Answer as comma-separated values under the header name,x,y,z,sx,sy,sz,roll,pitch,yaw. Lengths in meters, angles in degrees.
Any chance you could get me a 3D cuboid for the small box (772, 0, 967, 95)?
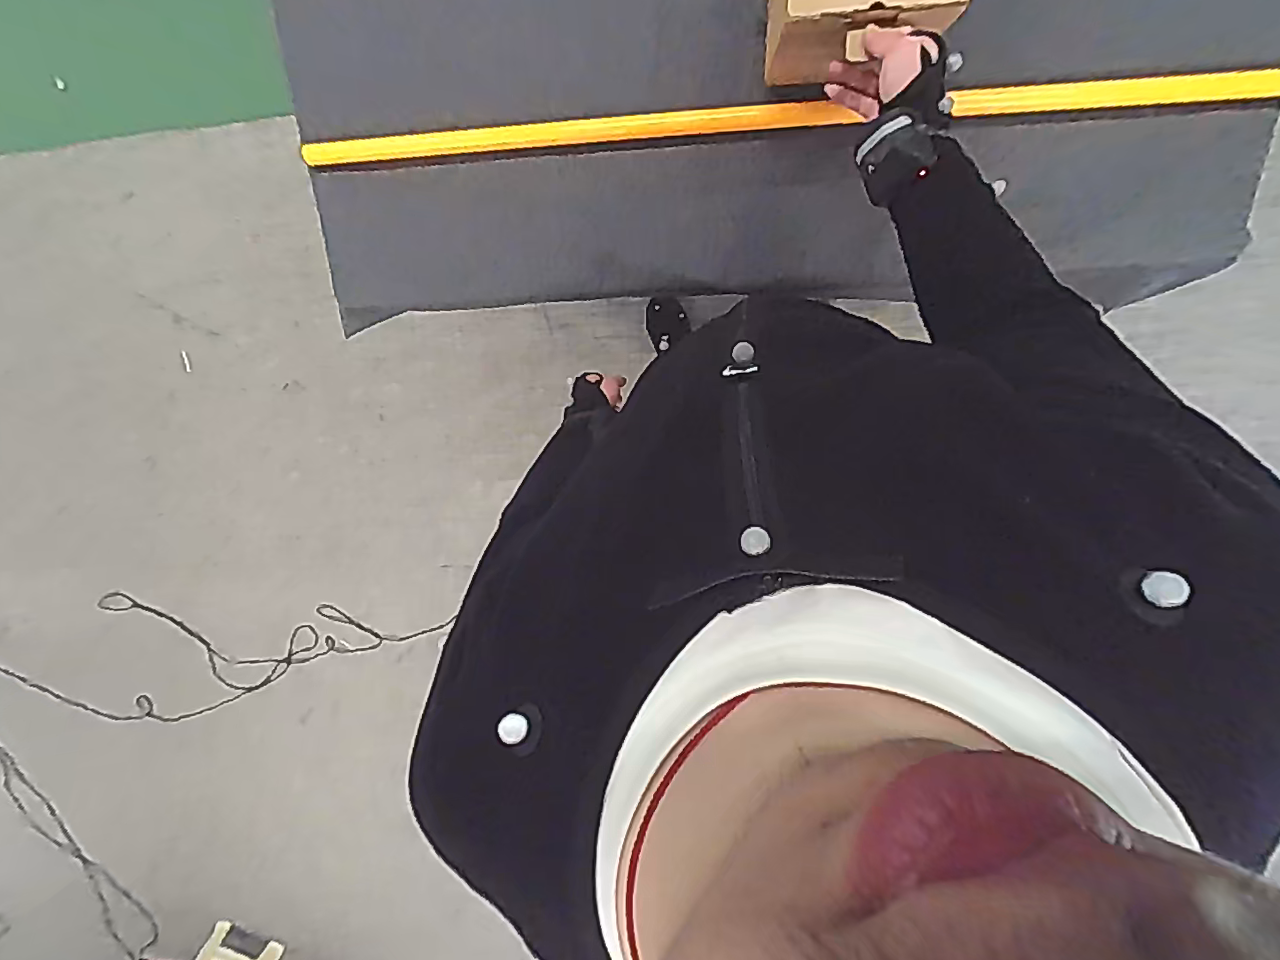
name,x,y,z,sx,sy,sz,roll,pitch,yaw
small box,0.230,-0.535,0.567,0.168,0.176,0.179,-2,106,10
